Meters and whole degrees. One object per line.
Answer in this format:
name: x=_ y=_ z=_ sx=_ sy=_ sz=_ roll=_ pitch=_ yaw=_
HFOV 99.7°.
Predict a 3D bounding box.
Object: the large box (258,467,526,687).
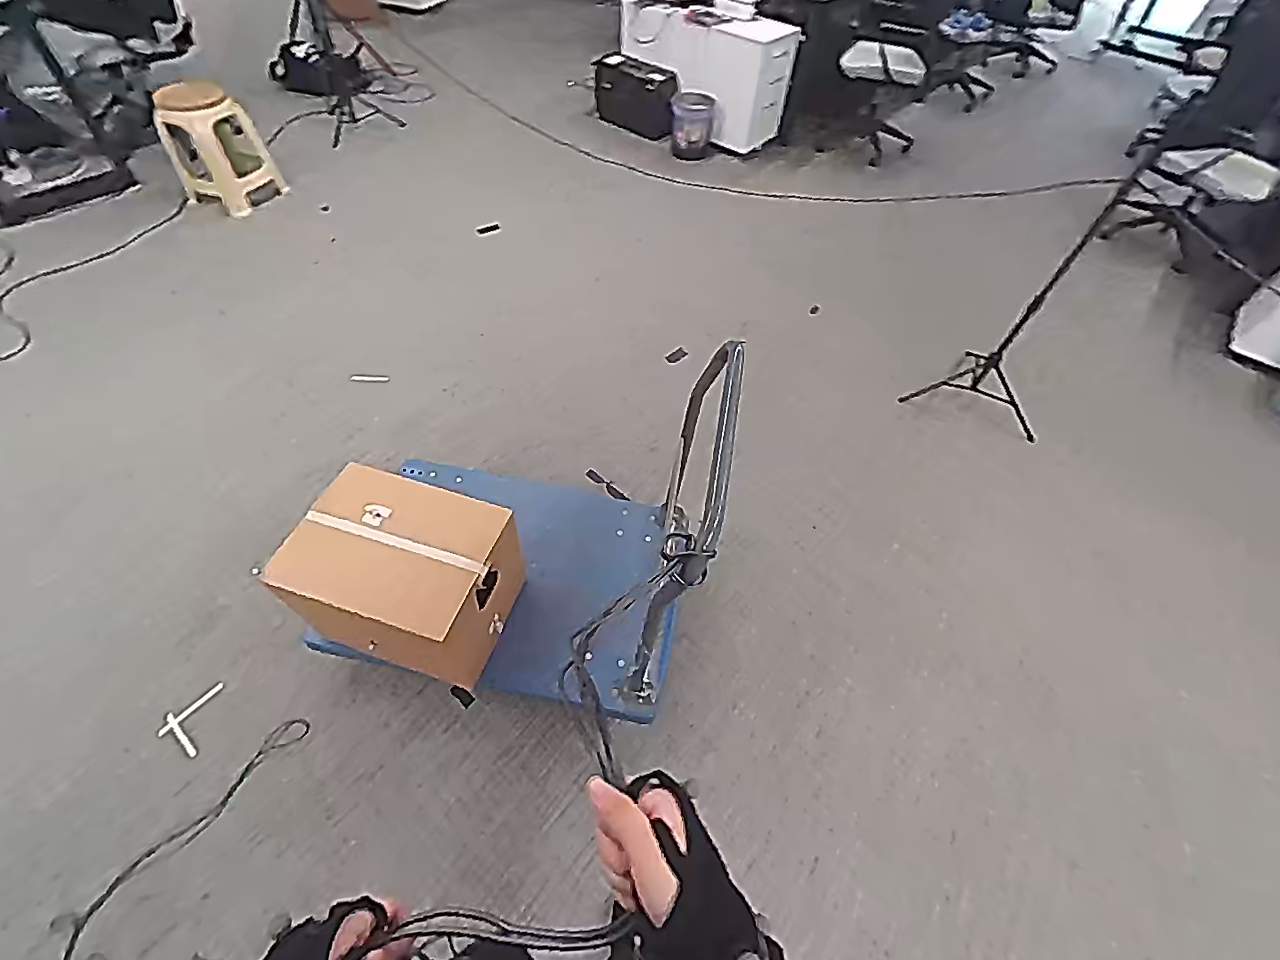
large box: x=-0.515 y=0.224 z=1.224 sx=0.408 sy=0.320 sz=0.320 roll=16 pitch=53 yaw=8
